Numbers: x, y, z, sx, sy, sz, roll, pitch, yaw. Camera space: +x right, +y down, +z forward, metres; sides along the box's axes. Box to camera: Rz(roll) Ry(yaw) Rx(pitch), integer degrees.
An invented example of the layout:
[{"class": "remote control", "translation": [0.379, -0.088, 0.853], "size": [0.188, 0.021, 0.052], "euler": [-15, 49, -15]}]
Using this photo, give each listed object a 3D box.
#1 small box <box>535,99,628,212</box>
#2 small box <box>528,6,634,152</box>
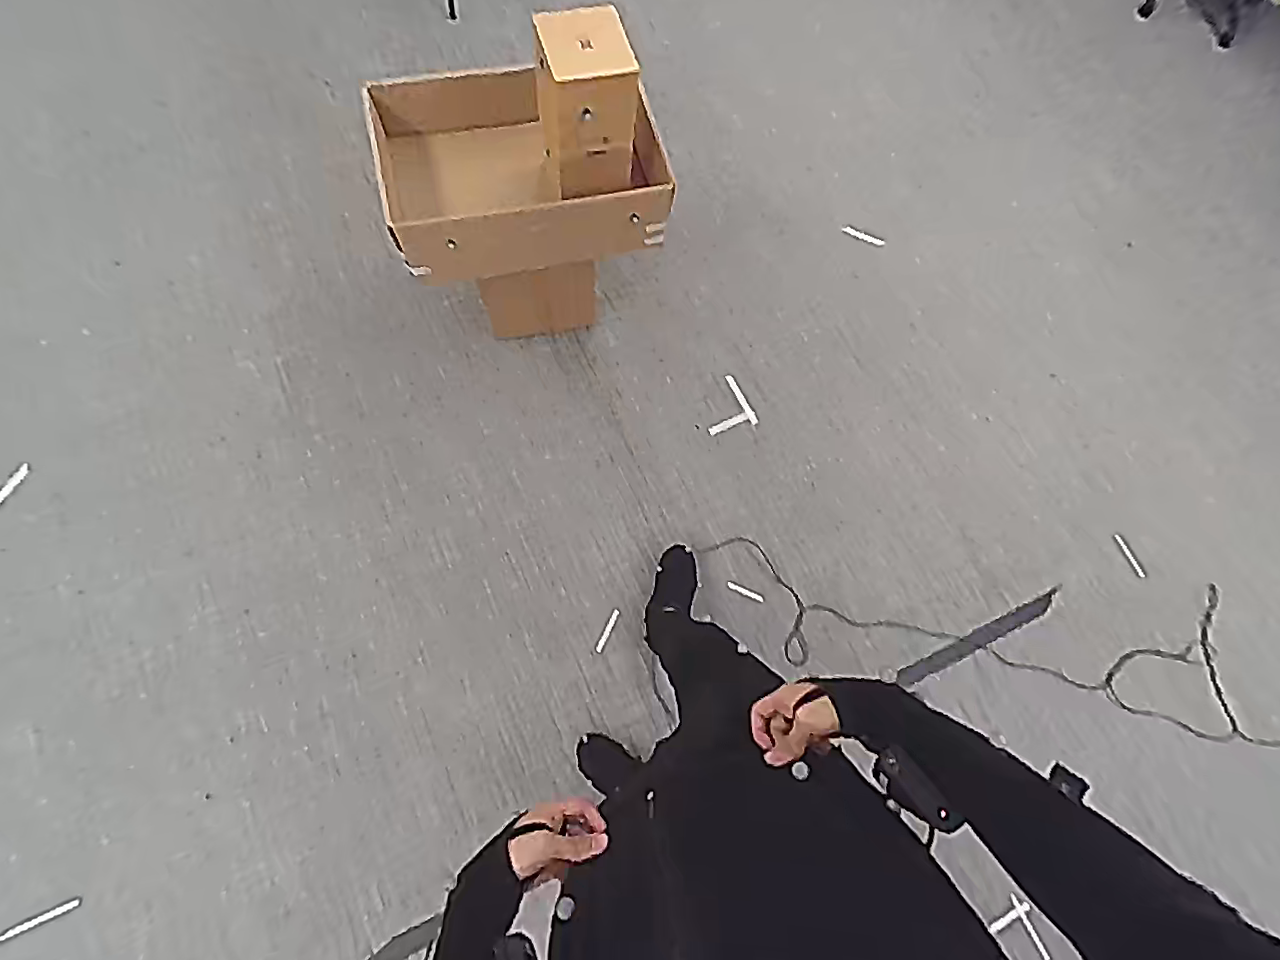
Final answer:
[{"class": "small box", "translation": [-0.132, -0.746, 1.242], "size": [0.168, 0.176, 0.179], "euler": [-16, 75, -10]}, {"class": "small box", "translation": [-0.117, -0.793, 1.087], "size": [0.168, 0.176, 0.179], "euler": [-16, 75, -10]}]
